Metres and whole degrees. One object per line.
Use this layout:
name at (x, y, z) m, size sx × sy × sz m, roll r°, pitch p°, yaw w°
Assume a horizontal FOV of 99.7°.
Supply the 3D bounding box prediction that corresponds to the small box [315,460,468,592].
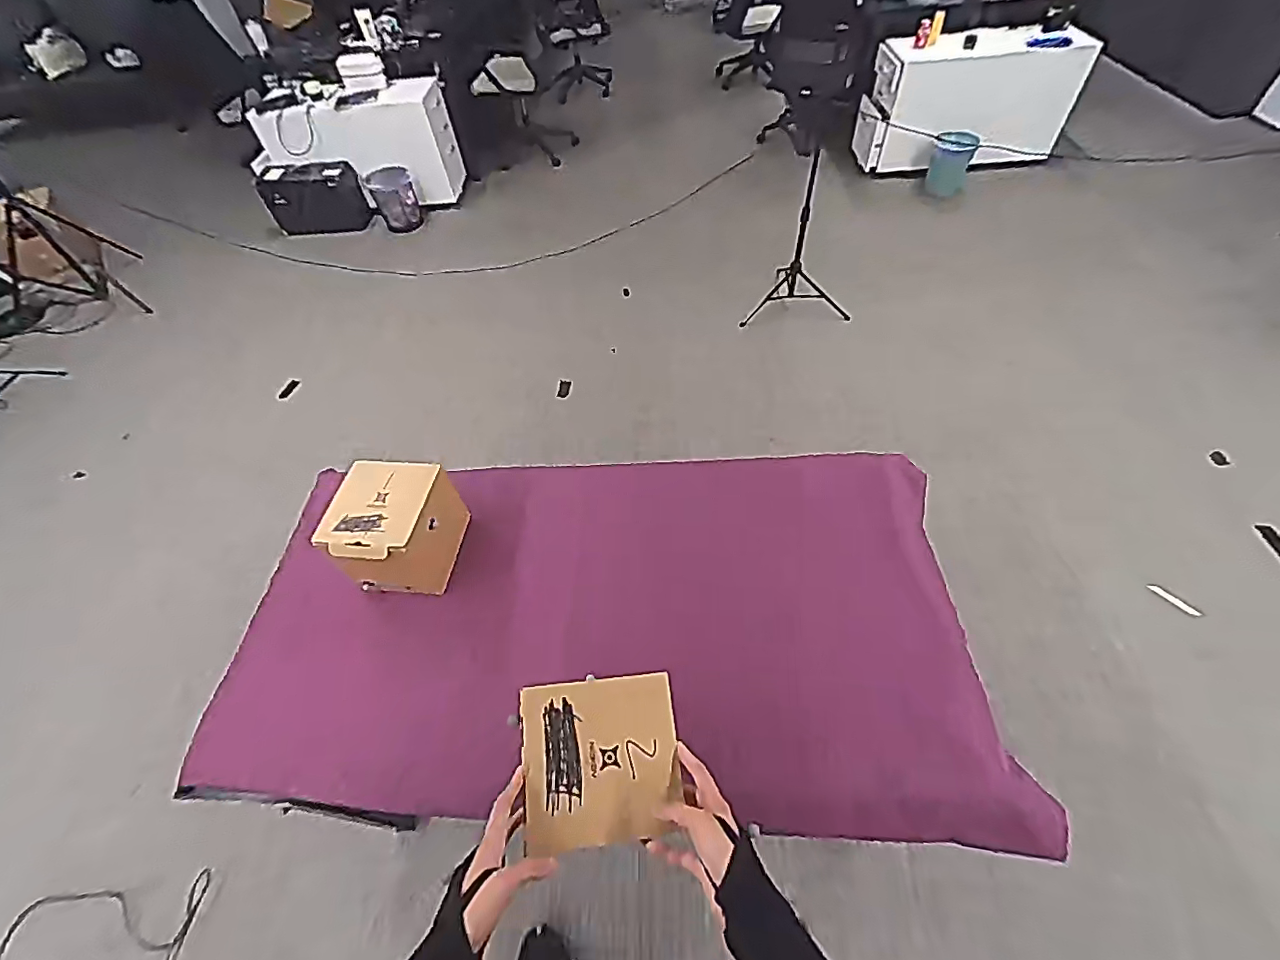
small box at (-0.428, 0.086, 0.970) m, size 0.168 × 0.176 × 0.179 m, roll 3°, pitch 53°, yaw 6°
